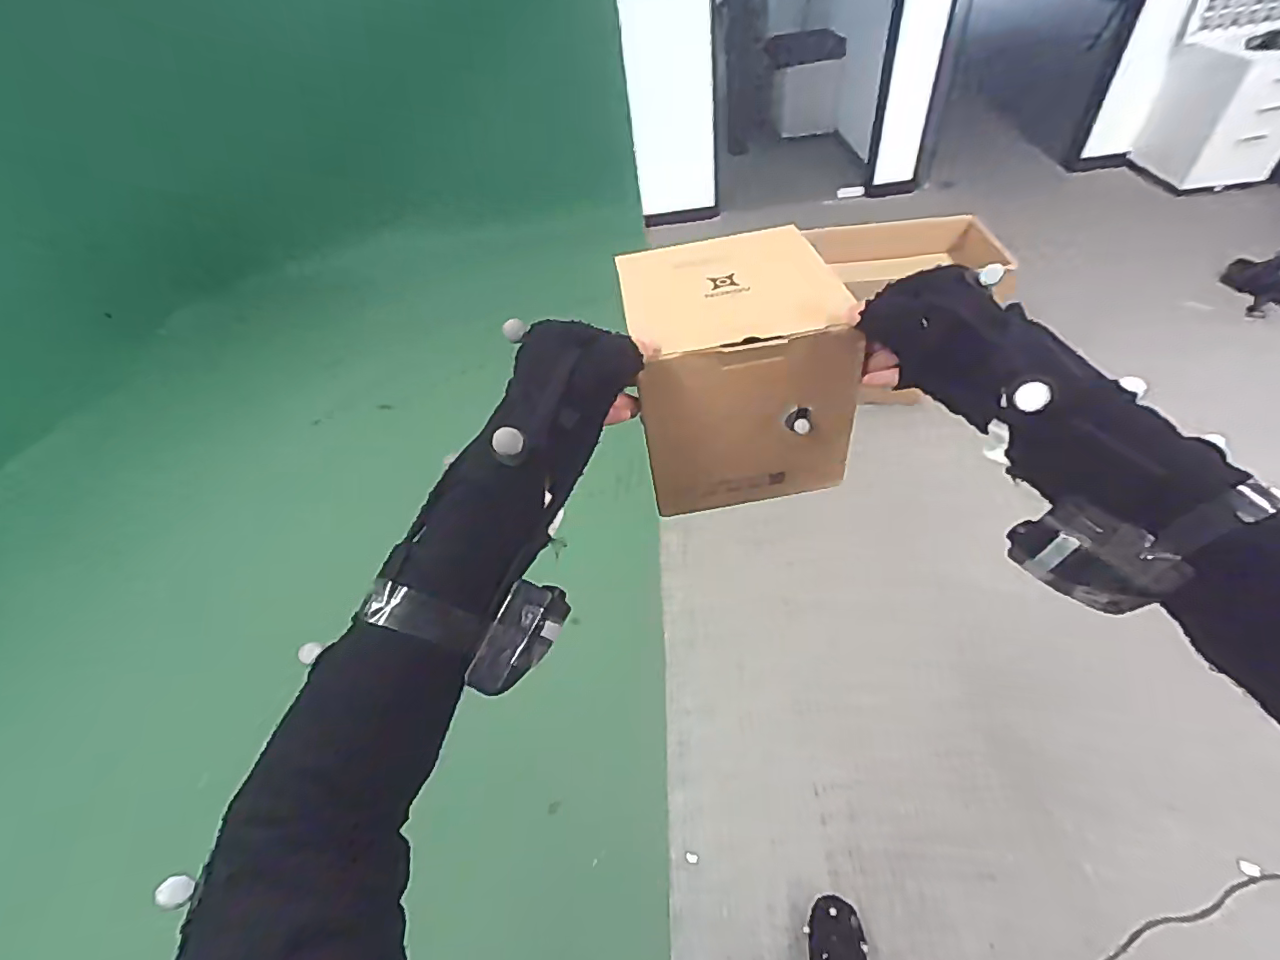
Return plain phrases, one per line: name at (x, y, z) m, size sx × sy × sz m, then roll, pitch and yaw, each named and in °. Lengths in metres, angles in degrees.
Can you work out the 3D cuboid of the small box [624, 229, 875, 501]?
small box at (0.084, -0.096, 0.483) m, size 0.168 × 0.176 × 0.179 m, roll -9°, pitch 44°, yaw 0°
